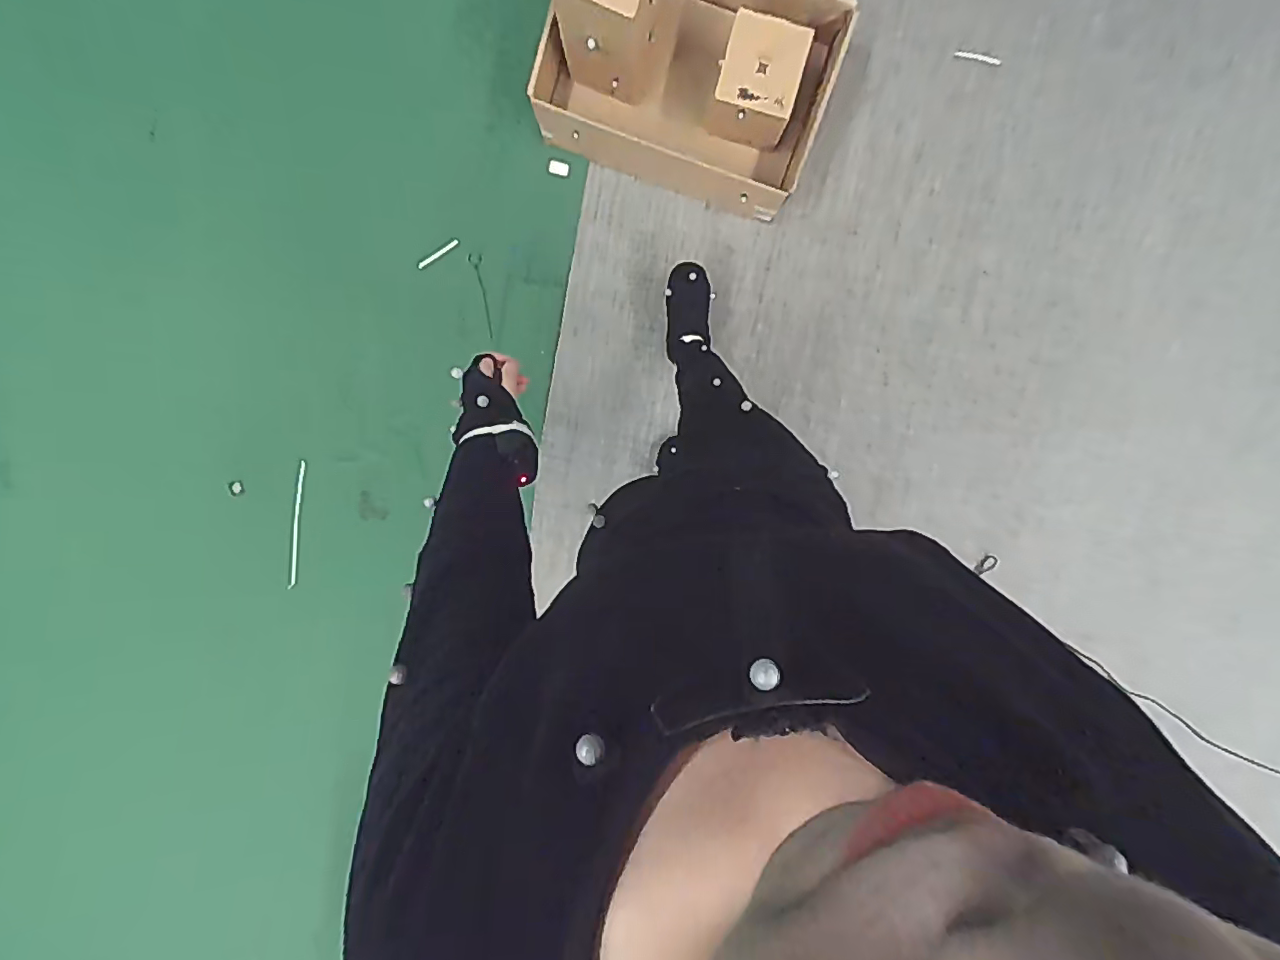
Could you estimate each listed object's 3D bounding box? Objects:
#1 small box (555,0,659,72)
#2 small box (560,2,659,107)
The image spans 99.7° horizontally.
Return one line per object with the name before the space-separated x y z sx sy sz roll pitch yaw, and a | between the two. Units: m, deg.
small box | -0.058 -0.934 1.022 0.168 0.176 0.179 22 101 -4
small box | -0.059 -0.967 1.183 0.168 0.176 0.179 20 99 -4
